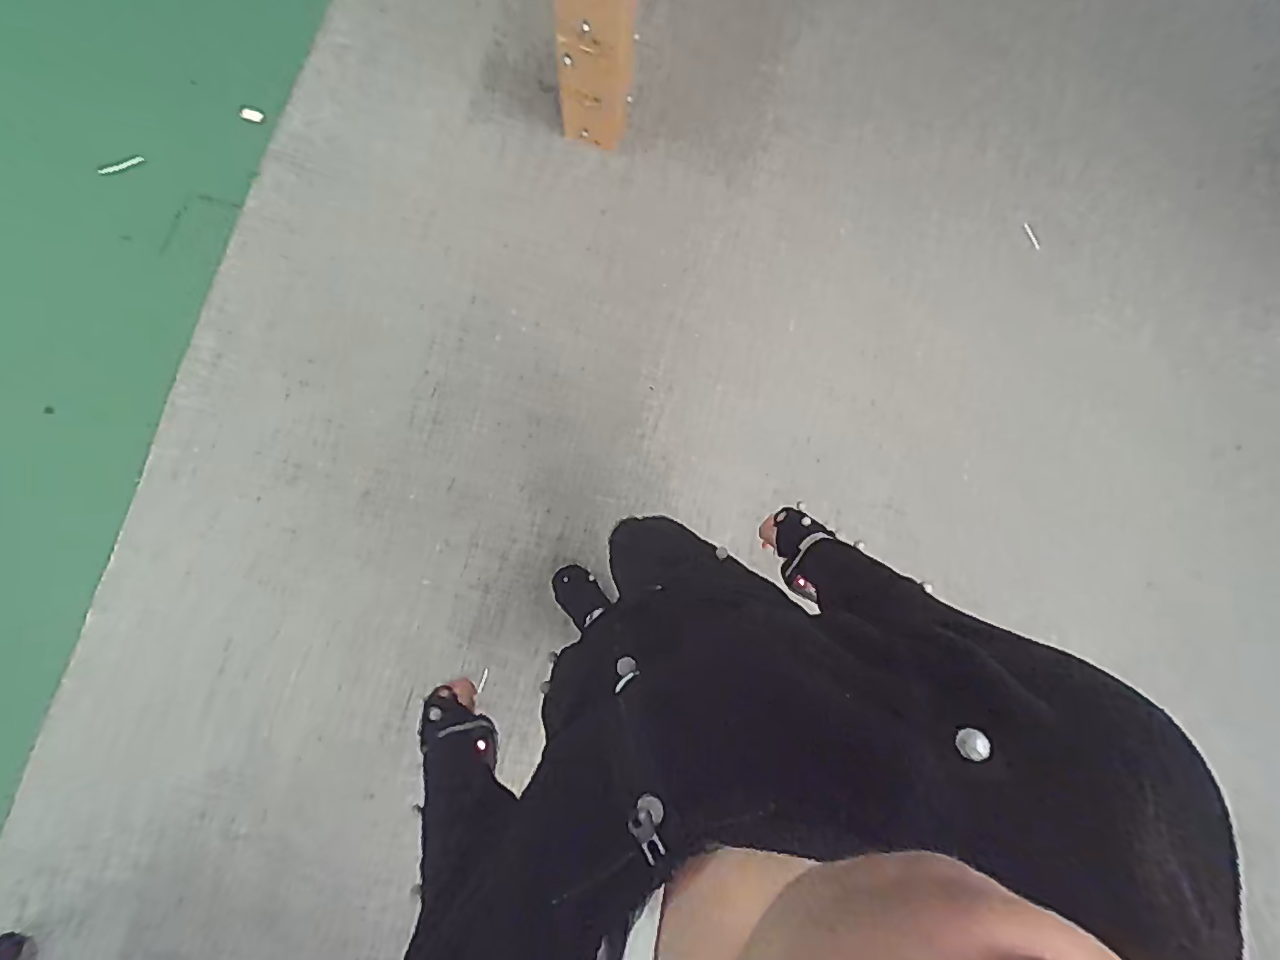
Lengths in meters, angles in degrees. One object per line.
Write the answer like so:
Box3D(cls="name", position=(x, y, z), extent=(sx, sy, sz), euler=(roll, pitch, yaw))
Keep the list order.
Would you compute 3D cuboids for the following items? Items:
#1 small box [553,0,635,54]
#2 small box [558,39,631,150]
Box3D(cls="small box", position=(-0.101, -1.144, 1.236), extent=(0.168, 0.176, 0.179), euler=(18, 82, -3))
Box3D(cls="small box", position=(-0.134, -1.106, 1.561), extent=(0.168, 0.176, 0.179), euler=(15, 83, -4))
